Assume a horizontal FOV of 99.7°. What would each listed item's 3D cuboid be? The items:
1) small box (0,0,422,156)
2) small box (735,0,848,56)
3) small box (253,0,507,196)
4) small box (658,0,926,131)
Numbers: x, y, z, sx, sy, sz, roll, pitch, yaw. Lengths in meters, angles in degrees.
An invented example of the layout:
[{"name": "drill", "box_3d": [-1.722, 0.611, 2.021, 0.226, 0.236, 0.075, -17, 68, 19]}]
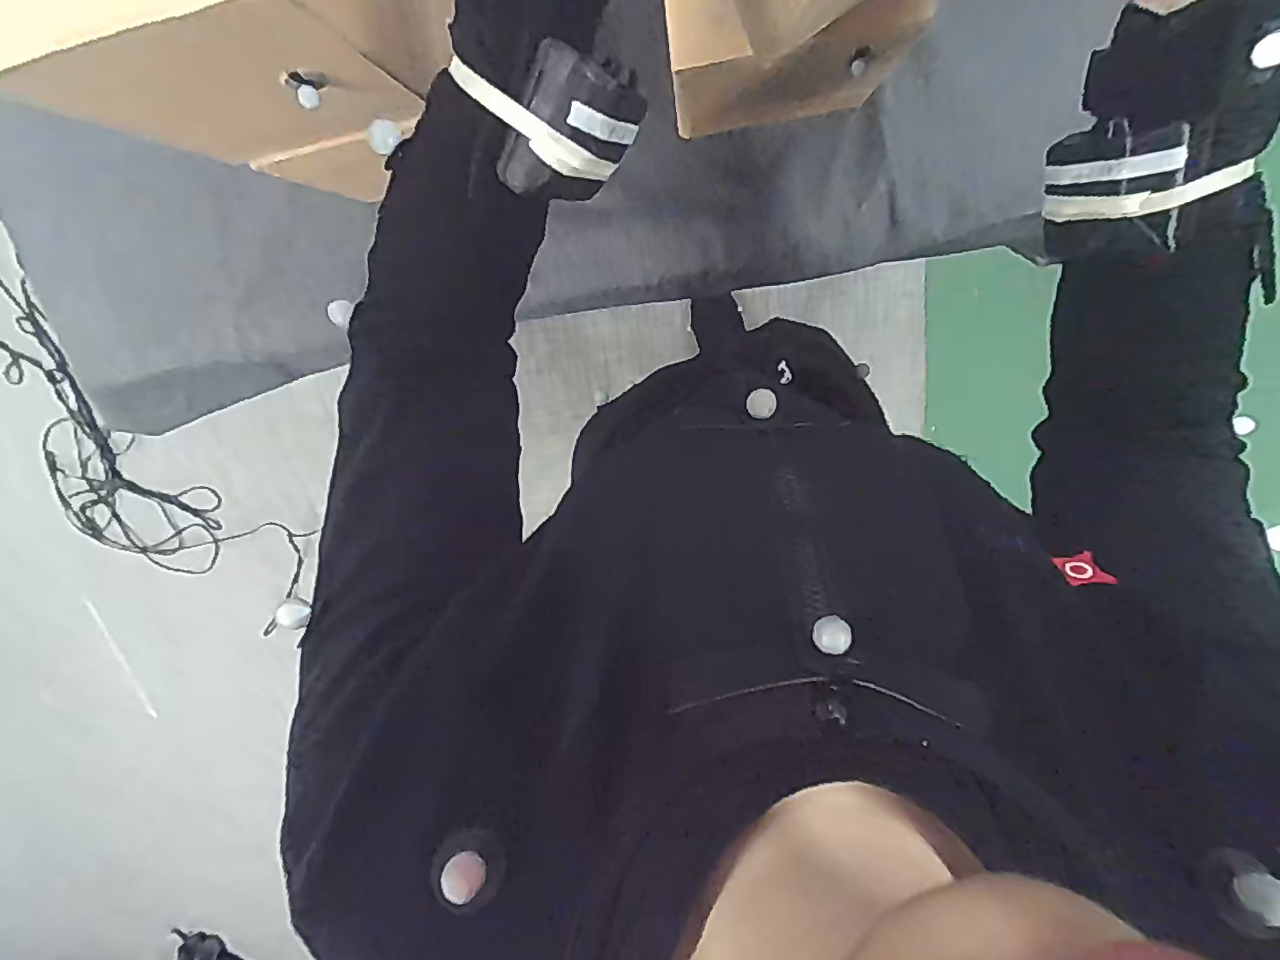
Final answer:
[{"name": "small box", "box_3d": [-0.251, -0.314, 0.311, 0.179, 0.176, 0.168, -10, 107, 9]}, {"name": "small box", "box_3d": [0.106, -0.331, 0.220, 0.179, 0.176, 0.168, -29, 112, 14]}, {"name": "small box", "box_3d": [-0.232, -0.366, 0.462, 0.168, 0.176, 0.179, -8, 108, 8]}, {"name": "small box", "box_3d": [0.101, -0.399, 0.422, 0.179, 0.176, 0.168, -6, 107, 7]}]
